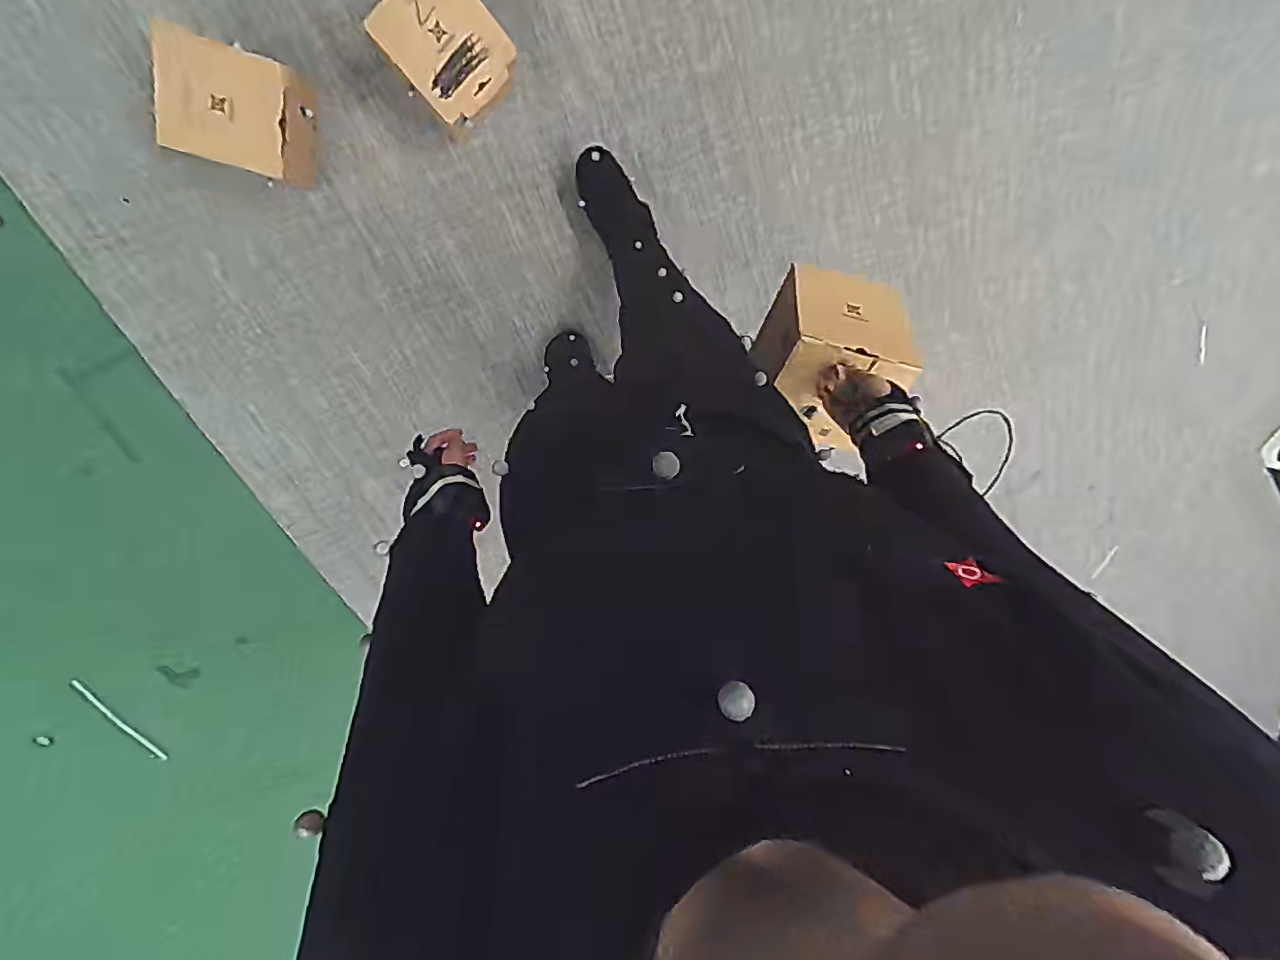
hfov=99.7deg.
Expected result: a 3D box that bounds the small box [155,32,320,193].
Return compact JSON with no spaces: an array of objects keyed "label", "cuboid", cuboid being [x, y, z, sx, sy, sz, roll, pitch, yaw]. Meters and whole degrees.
[{"label":"small box","cuboid":[-0.663,-0.600,0.911,0.179,0.176,0.168,10,109,-15]}]

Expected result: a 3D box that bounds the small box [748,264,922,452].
[{"label":"small box","cuboid":[0.261,-0.170,0.773,0.168,0.179,0.176,13,141,-6]}]
